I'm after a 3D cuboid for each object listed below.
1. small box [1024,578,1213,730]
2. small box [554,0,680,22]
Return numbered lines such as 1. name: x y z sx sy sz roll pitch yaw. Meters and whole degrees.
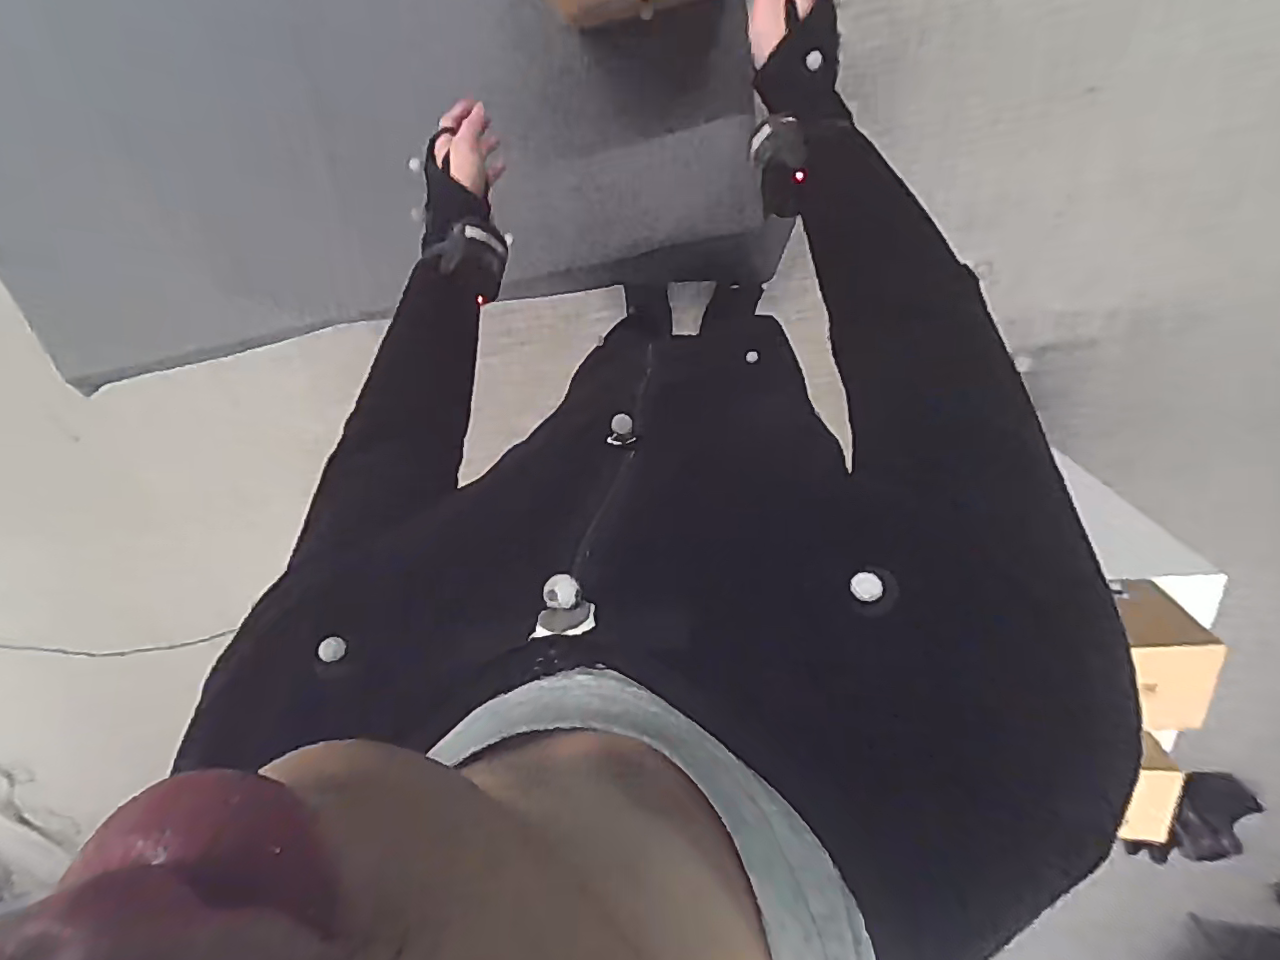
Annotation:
1. small box: 0.775 0.287 0.901 0.168 0.176 0.179 -8 114 11
2. small box: -0.014 -0.551 0.483 0.179 0.176 0.168 -4 115 11
